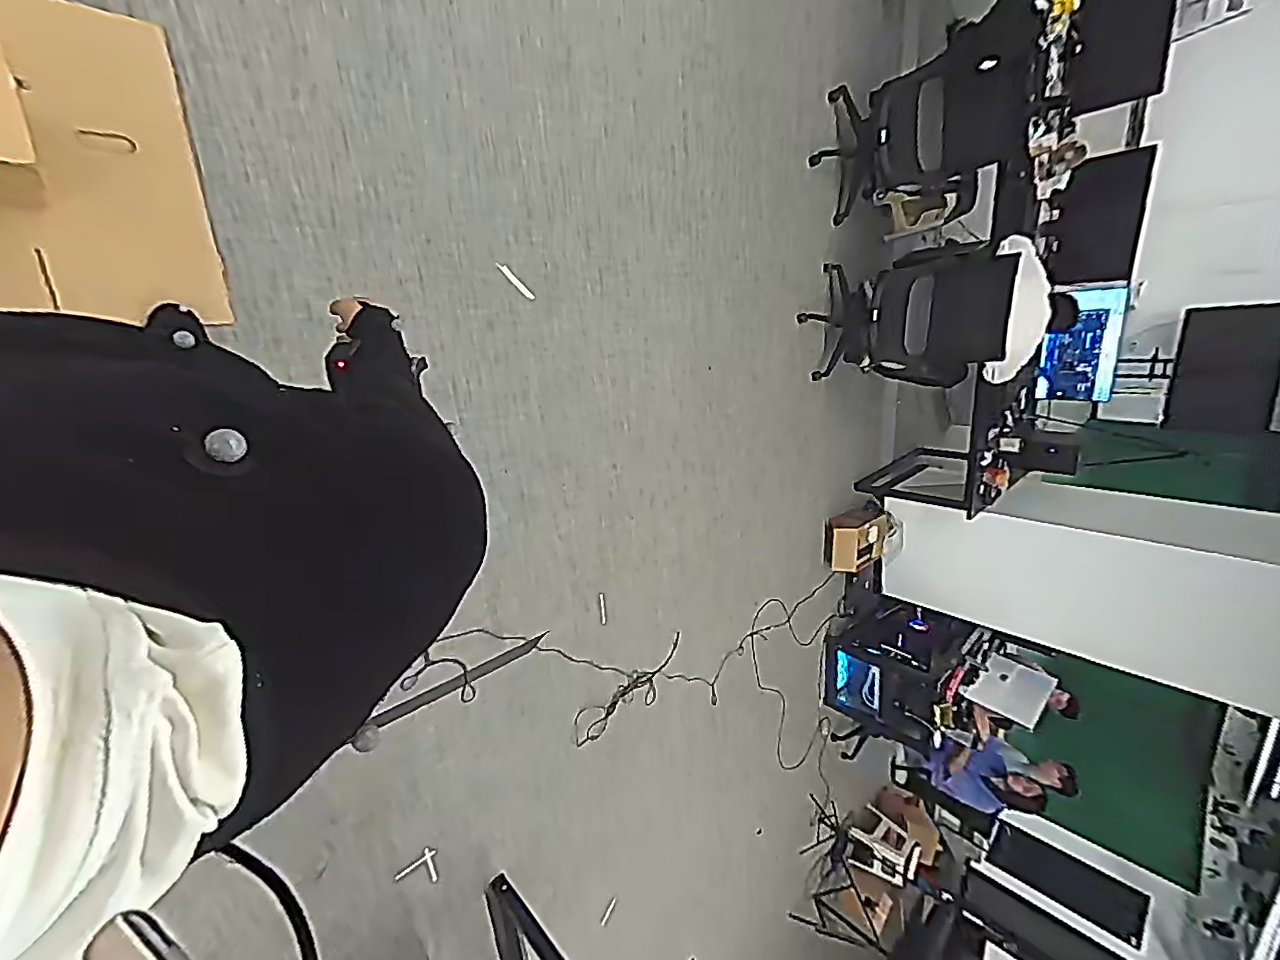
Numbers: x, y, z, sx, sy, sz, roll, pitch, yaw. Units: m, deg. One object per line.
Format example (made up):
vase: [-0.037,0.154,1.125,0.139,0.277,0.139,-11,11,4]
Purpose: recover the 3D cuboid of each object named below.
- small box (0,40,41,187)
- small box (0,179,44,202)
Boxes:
small box: [-1.066,-0.574,0.829,0.168,0.176,0.179,-15,110,-41]
small box: [-1.185,-0.596,0.941,0.179,0.176,0.168,-16,110,-41]
